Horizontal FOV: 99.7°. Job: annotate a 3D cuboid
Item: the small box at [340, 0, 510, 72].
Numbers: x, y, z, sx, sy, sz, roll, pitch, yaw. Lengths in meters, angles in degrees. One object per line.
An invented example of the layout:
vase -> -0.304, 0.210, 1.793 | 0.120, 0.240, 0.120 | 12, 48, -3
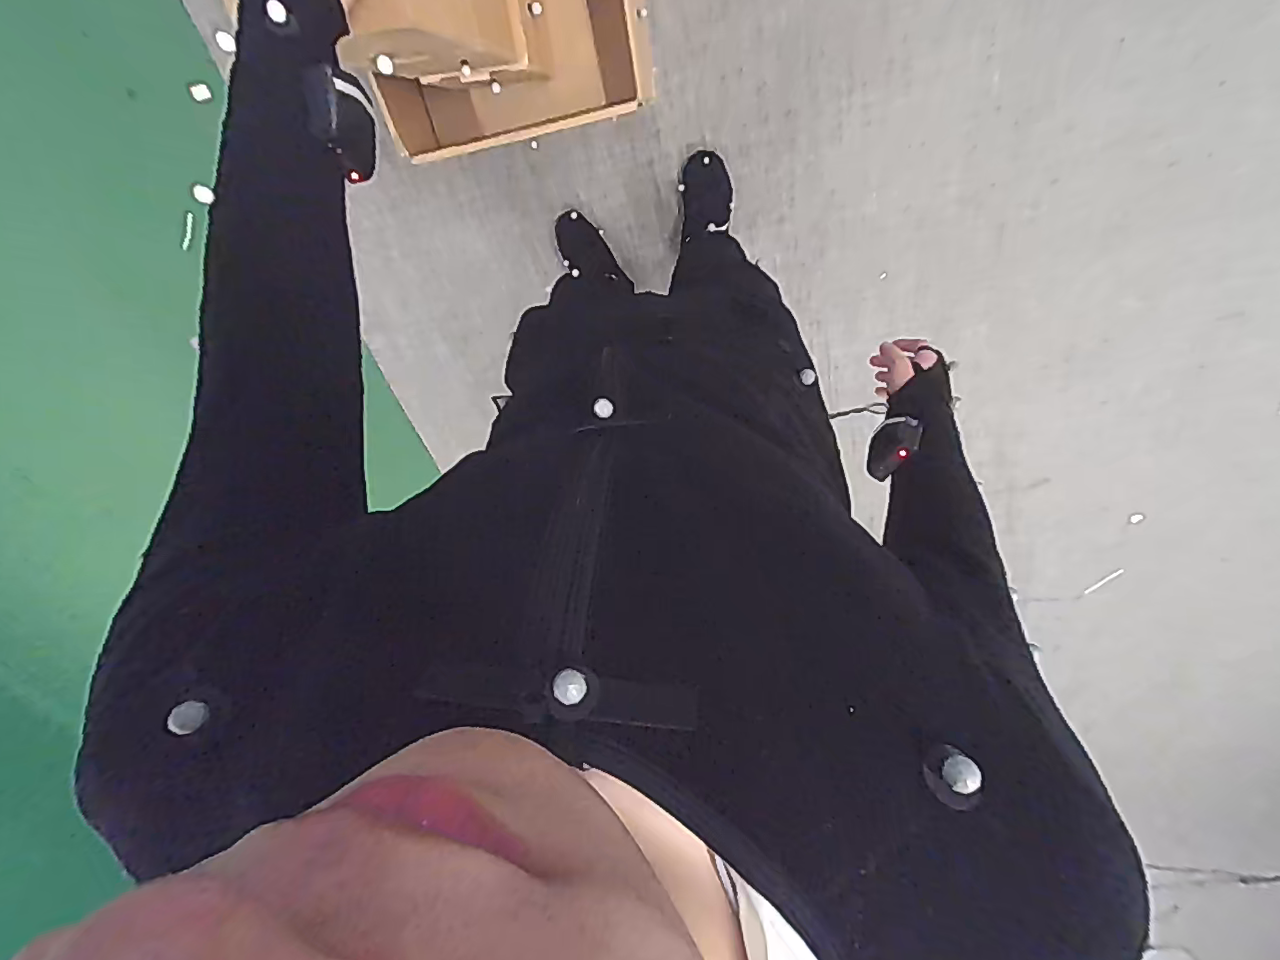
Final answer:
small box -> -0.267, -0.599, 0.638 | 0.168, 0.176, 0.179 | -2, 123, 7

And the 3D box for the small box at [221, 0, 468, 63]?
small box -> -0.281, -0.509, 0.501 | 0.168, 0.176, 0.179 | -1, 125, 7
